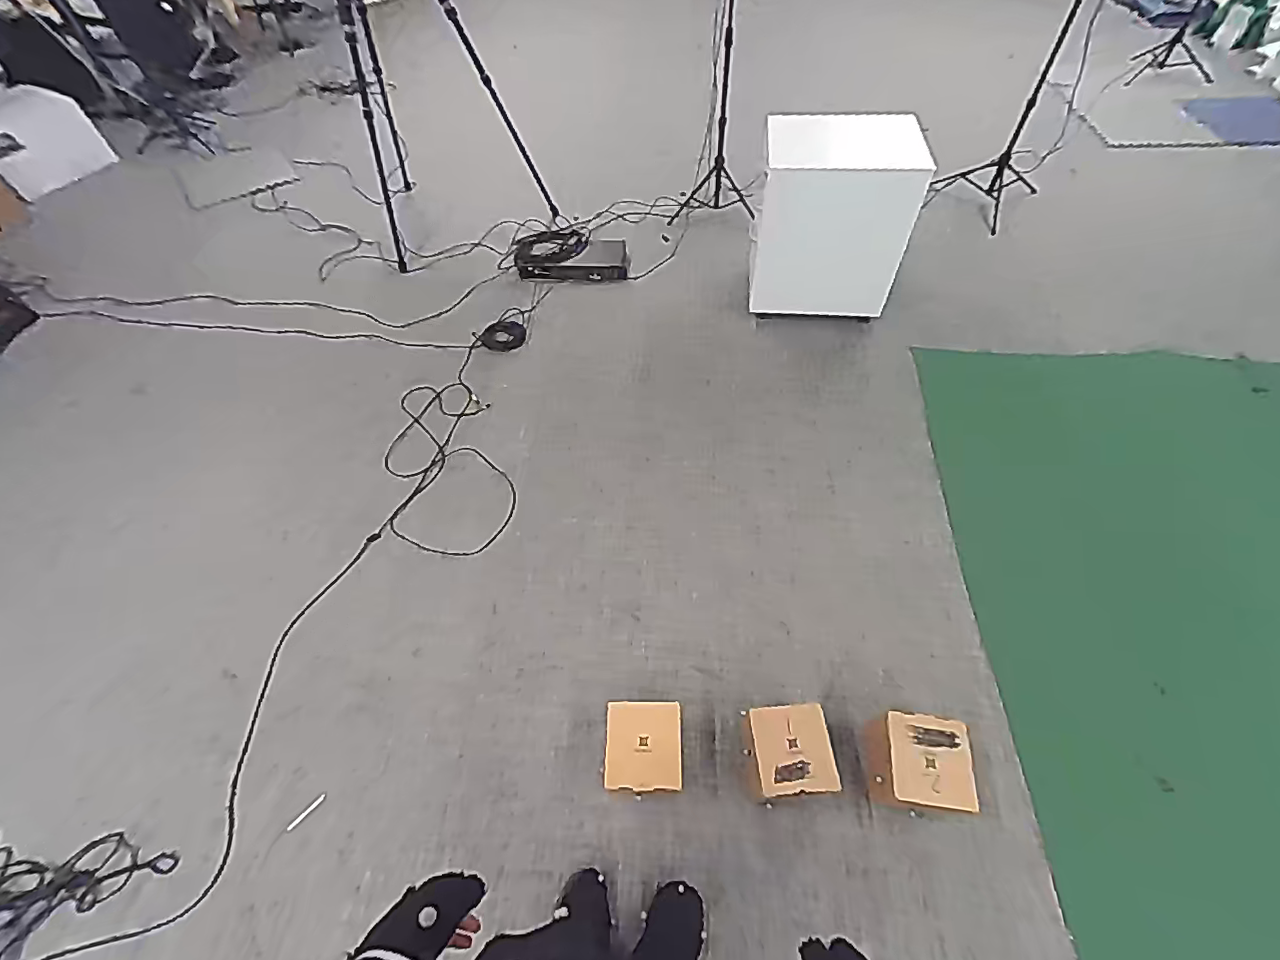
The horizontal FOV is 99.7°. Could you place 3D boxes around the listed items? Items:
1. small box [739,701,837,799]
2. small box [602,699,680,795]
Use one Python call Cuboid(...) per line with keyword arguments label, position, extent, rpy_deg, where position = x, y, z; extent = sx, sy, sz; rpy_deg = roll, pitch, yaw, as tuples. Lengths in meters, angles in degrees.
Cuboid(label="small box", position=(0.324, 0.614, 1.223), extent=(0.168, 0.176, 0.179), rpy_deg=(-4, 54, -1))
Cuboid(label="small box", position=(0.006, 0.614, 1.240), extent=(0.168, 0.176, 0.179), rpy_deg=(-1, 56, 3))
